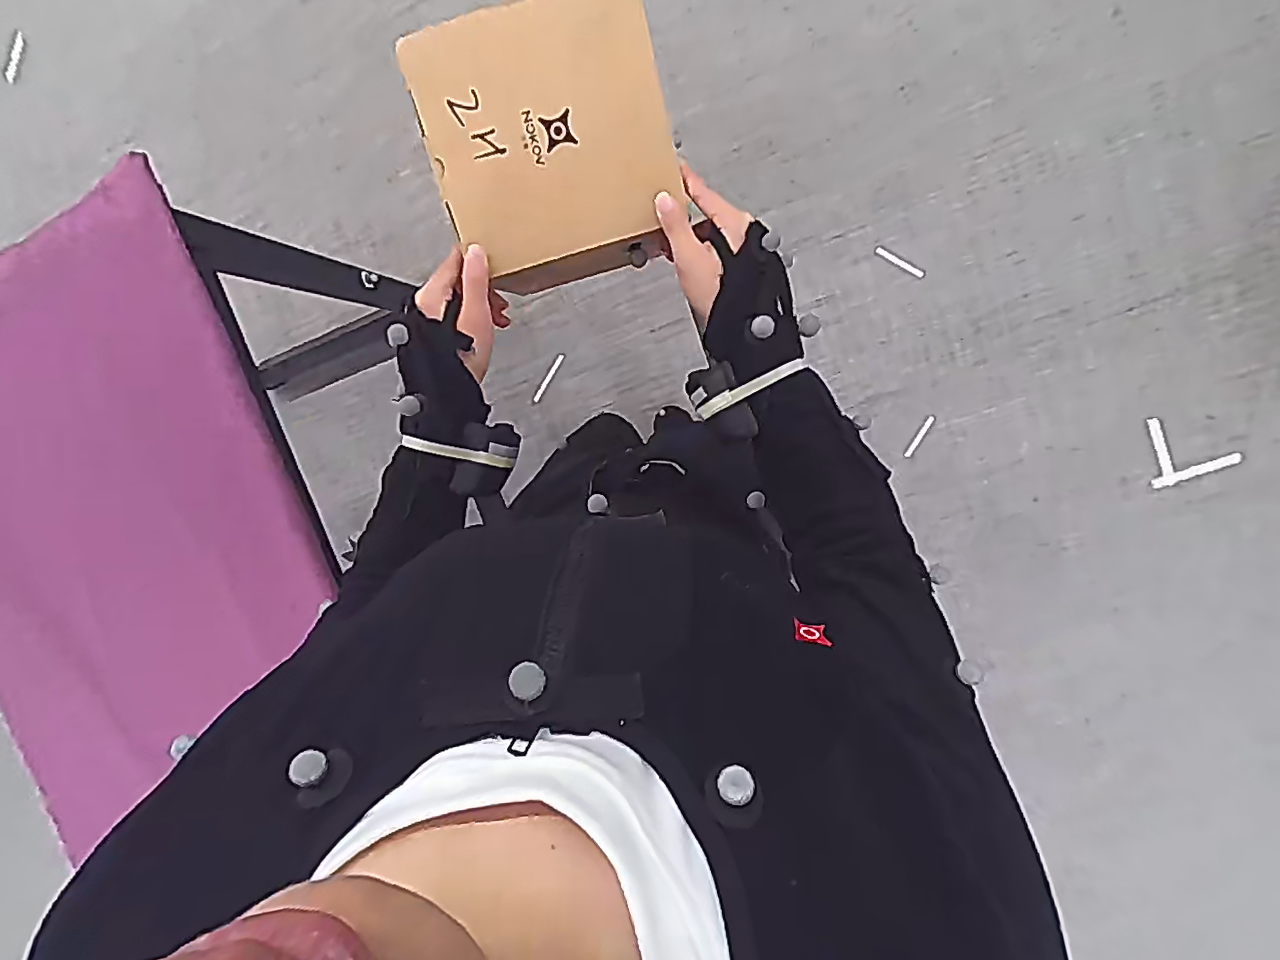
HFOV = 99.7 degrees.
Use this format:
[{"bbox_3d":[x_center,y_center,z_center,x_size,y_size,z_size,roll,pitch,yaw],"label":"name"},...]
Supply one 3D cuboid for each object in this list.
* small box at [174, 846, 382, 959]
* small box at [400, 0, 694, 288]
[{"bbox_3d":[-0.479,0.633,0.719,0.179,0.176,0.168,-25,95,12],"label":"small box"},{"bbox_3d":[-0.062,-0.272,0.461,0.179,0.176,0.168,-14,104,5],"label":"small box"}]
